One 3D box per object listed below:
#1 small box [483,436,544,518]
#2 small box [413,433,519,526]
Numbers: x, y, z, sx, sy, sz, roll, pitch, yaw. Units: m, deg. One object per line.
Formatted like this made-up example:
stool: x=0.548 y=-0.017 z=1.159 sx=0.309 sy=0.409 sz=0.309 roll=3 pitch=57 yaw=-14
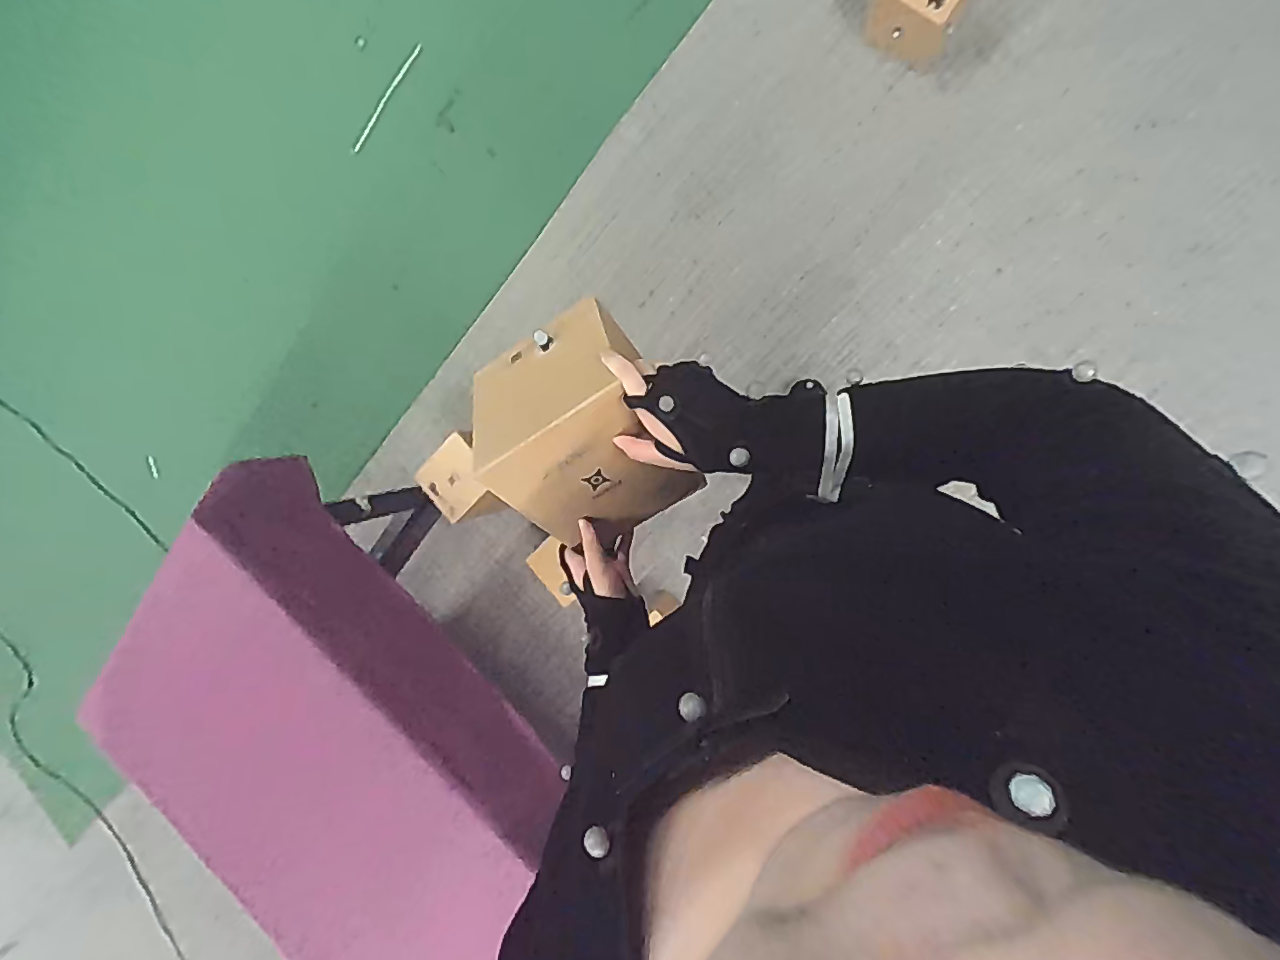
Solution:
small box: x=-0.401 y=-0.016 z=1.572 sx=0.179 sy=0.176 sz=0.168 roll=-38 pitch=85 yaw=16
small box: x=-0.442 y=-0.007 z=1.411 sx=0.179 sy=0.176 sz=0.168 roll=-42 pitch=83 yaw=13
